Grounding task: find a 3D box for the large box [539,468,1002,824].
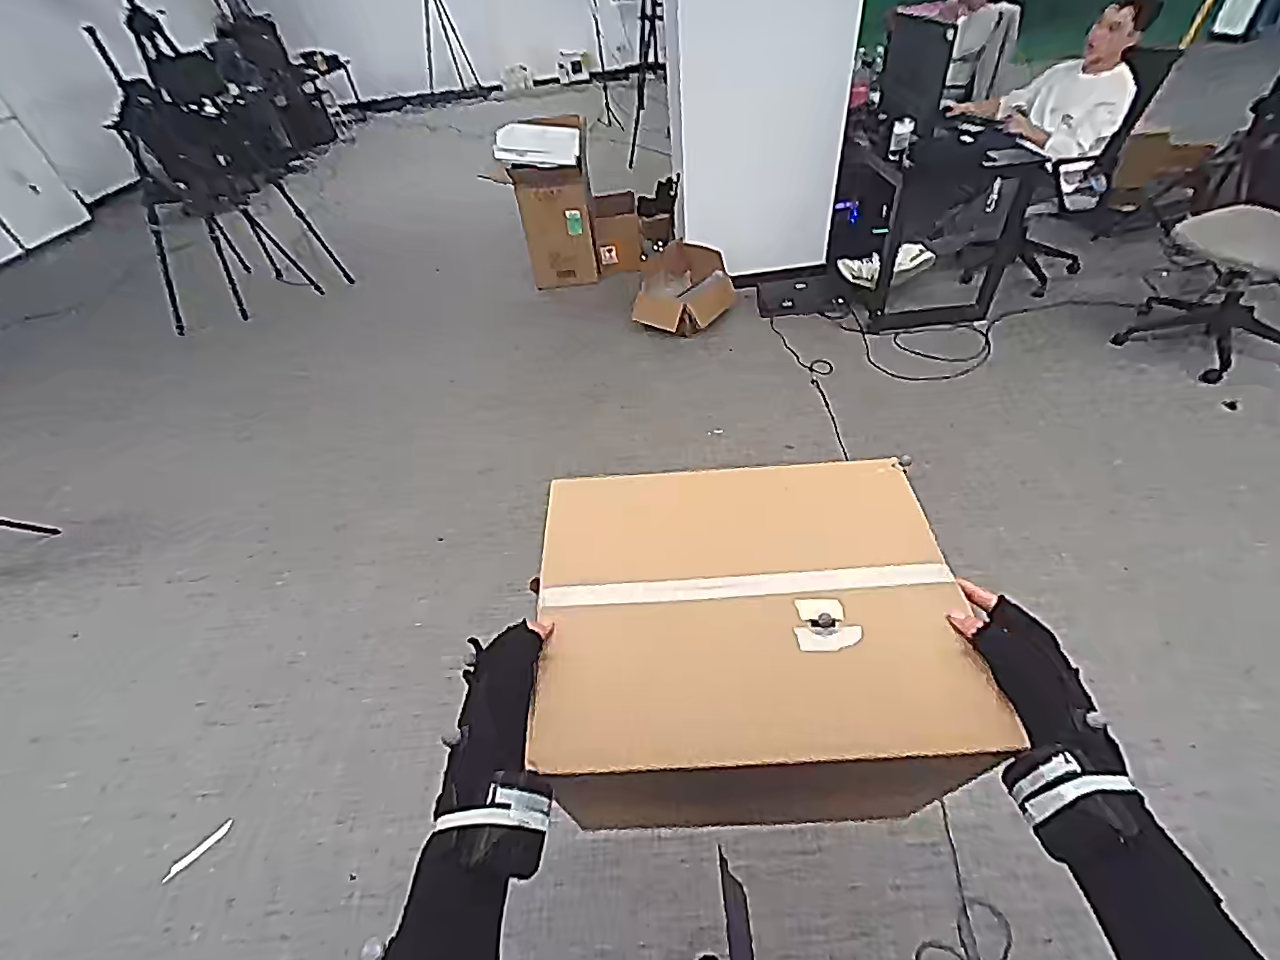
[{"bbox_3d":[0.110,0.210,0.664,0.408,0.320,0.320,-3,51,1],"label":"large box"}]
